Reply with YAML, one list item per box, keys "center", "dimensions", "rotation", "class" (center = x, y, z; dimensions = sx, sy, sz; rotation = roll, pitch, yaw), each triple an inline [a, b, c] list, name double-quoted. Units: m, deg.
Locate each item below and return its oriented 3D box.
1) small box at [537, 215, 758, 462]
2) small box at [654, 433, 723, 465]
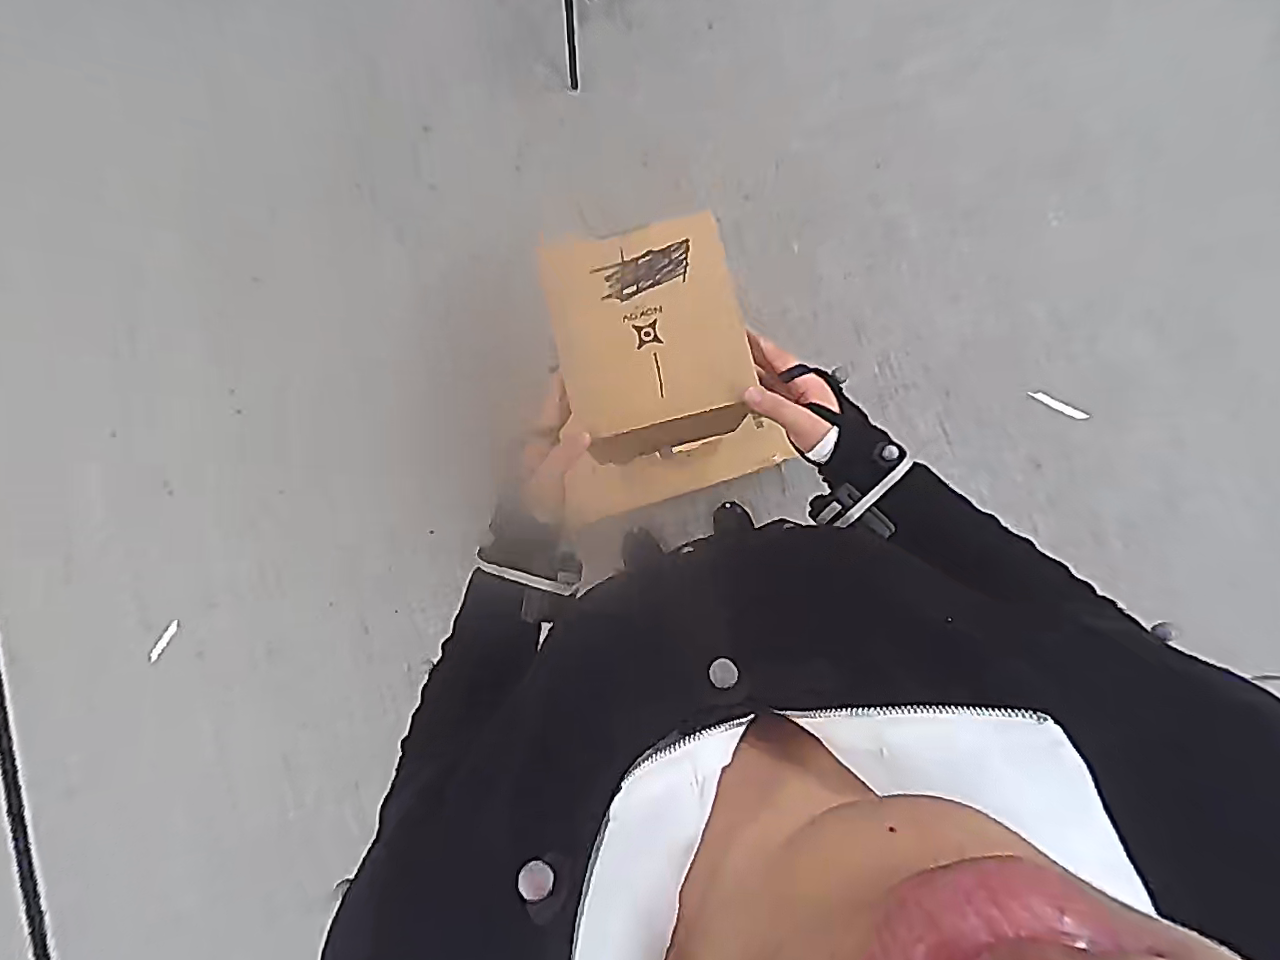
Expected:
- center: [0.006, -0.128, 0.555]
  dimensions: [0.168, 0.176, 0.179]
  rotation: [-14, 84, 1]
  class: "small box"
- center: [0.095, -0.151, 1.348]
  dimensions: [0.168, 0.176, 0.179]
  rotation: [-19, 84, 1]
  class: "small box"
